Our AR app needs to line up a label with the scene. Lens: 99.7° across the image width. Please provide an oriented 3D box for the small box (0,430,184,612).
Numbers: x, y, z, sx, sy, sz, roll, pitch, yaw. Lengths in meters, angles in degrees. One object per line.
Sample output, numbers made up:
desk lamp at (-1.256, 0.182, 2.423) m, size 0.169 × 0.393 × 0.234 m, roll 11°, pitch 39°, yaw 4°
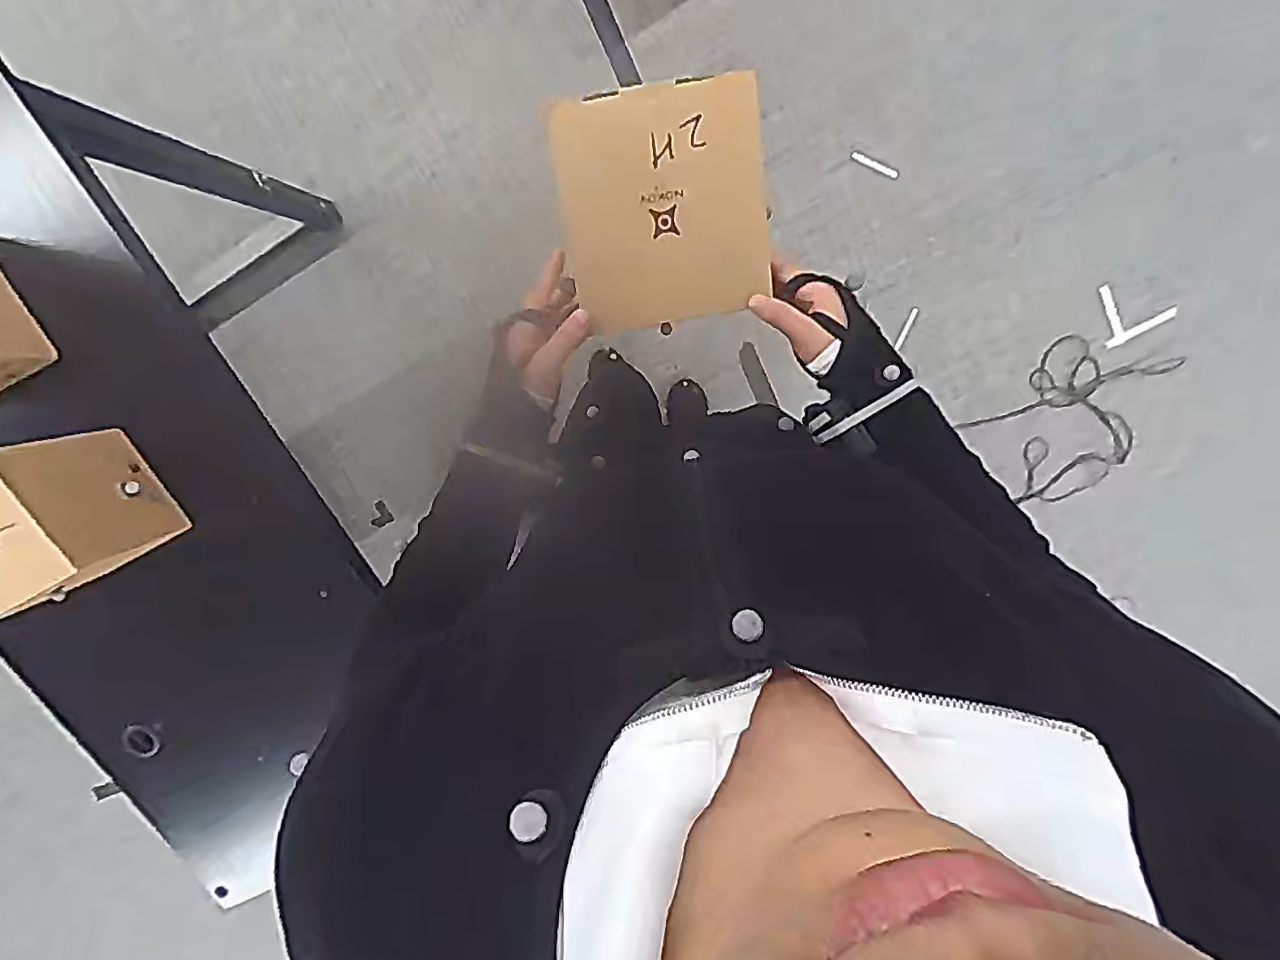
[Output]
small box at (-0.772, 0.051, 0.708) m, size 0.179 × 0.176 × 0.168 m, roll -26°, pitch 103°, yaw 8°

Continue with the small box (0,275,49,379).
small box at (-0.898, -0.192, 0.646) m, size 0.168 × 0.176 × 0.179 m, roll -23°, pitch 104°, yaw 8°

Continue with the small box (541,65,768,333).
small box at (0.016, -0.246, 0.511) m, size 0.168 × 0.176 × 0.179 m, roll -10°, pitch 108°, yaw 1°
